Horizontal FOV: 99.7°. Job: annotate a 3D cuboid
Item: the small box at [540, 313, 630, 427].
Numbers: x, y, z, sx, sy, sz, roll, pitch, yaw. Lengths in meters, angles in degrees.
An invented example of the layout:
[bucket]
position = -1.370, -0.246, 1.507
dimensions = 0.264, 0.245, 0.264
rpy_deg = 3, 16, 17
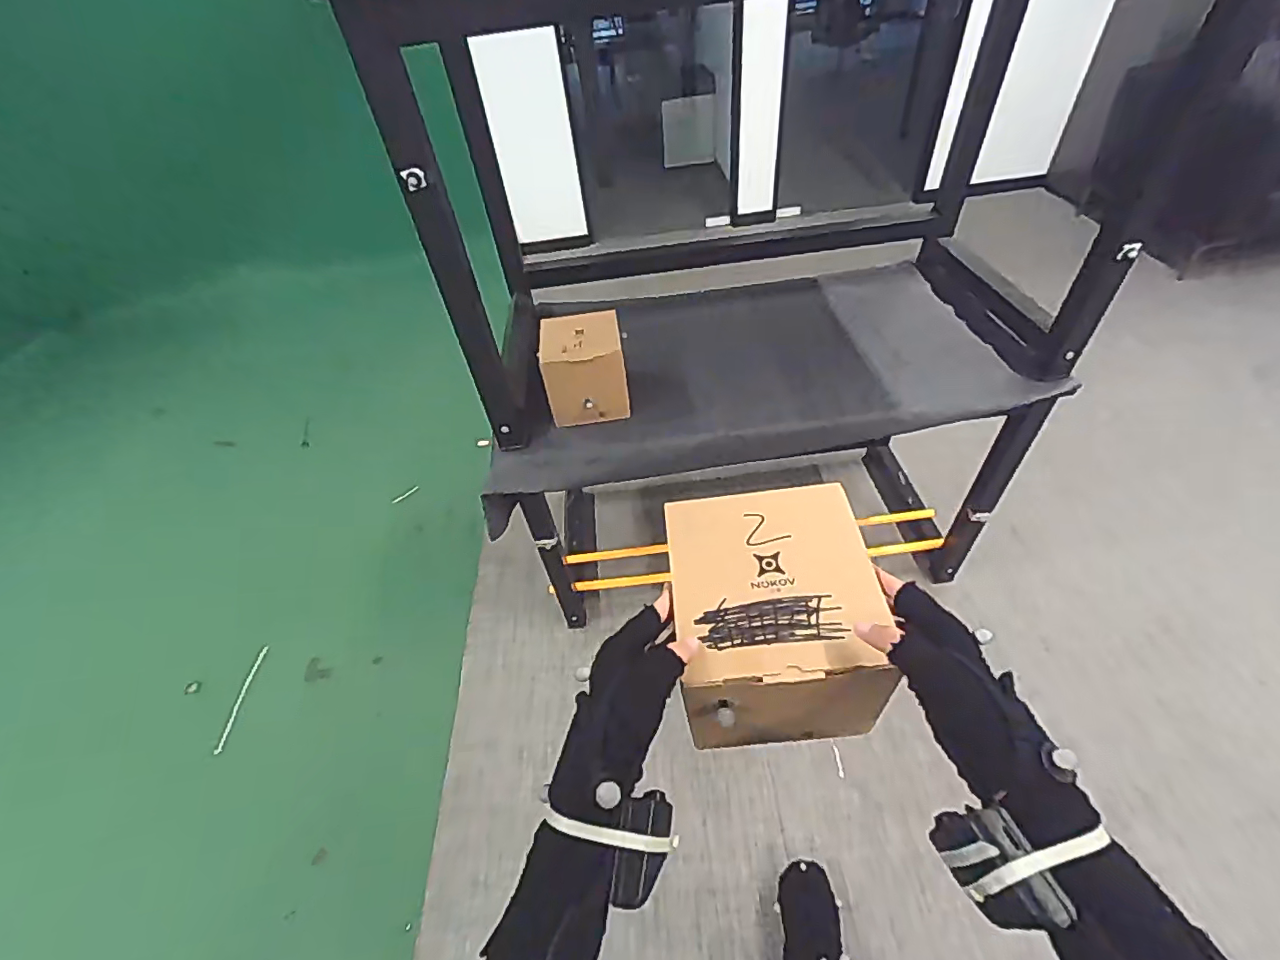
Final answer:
[small box]
position = -0.116, -0.238, 1.172
dimensions = 0.168, 0.176, 0.179
rpy_deg = -8, 46, 0
